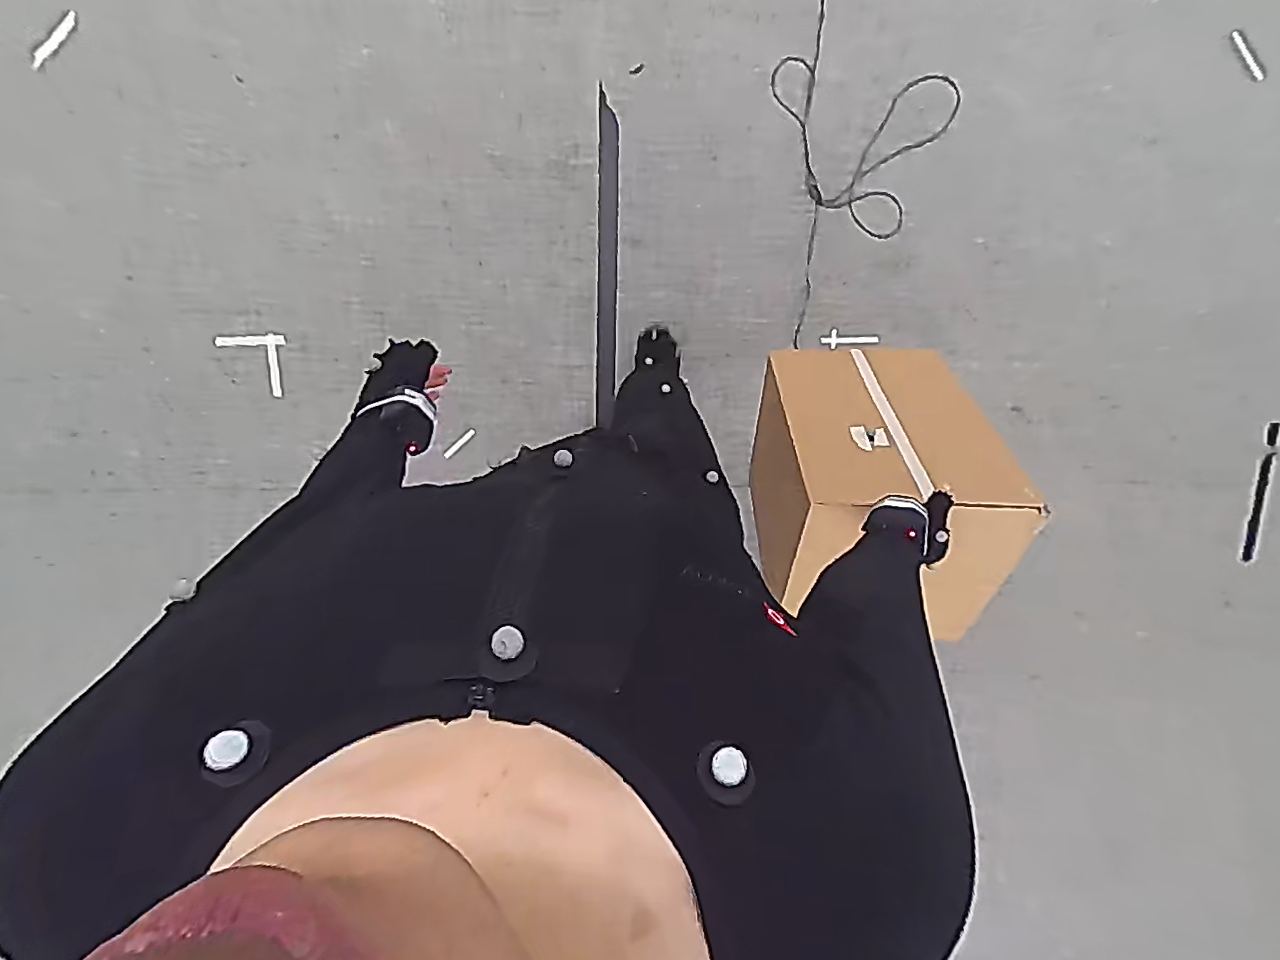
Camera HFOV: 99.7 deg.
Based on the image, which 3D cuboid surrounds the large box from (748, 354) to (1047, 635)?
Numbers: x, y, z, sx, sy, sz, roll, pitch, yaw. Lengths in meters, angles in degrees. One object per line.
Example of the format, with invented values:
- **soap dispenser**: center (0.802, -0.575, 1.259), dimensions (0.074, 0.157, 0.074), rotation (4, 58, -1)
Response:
- **large box**: center (0.390, 0.016, 0.962), dimensions (0.320, 0.408, 0.320), rotation (1, 133, 1)
